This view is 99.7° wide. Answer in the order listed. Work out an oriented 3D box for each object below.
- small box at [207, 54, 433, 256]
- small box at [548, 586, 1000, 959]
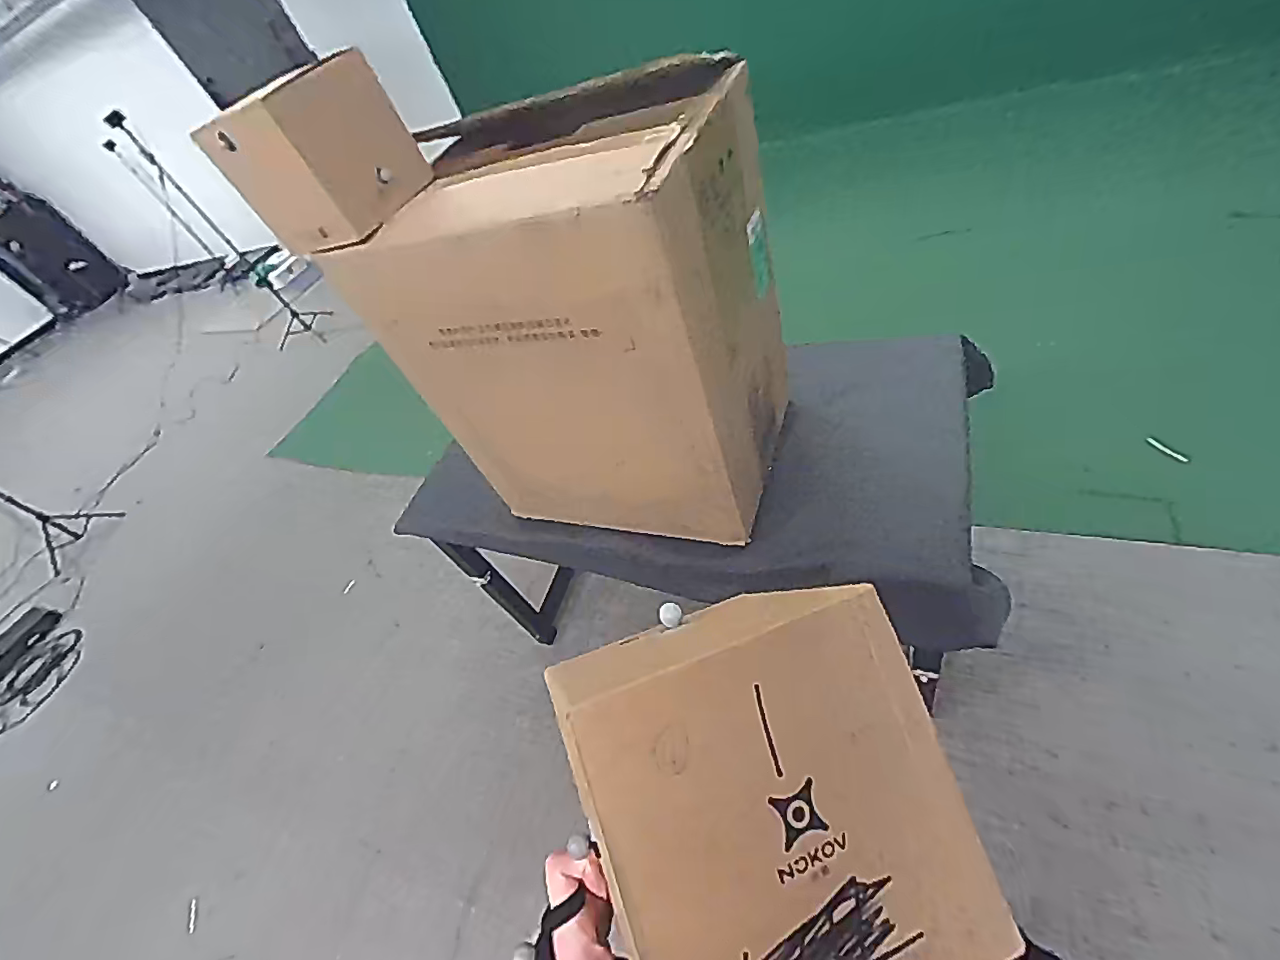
[{"bbox_3d":[-0.416,-0.434,0.738,0.168,0.176,0.179,4,52,30],"label":"small box"},{"bbox_3d":[0.050,0.173,0.319,0.168,0.176,0.179,-16,79,-17],"label":"small box"}]
